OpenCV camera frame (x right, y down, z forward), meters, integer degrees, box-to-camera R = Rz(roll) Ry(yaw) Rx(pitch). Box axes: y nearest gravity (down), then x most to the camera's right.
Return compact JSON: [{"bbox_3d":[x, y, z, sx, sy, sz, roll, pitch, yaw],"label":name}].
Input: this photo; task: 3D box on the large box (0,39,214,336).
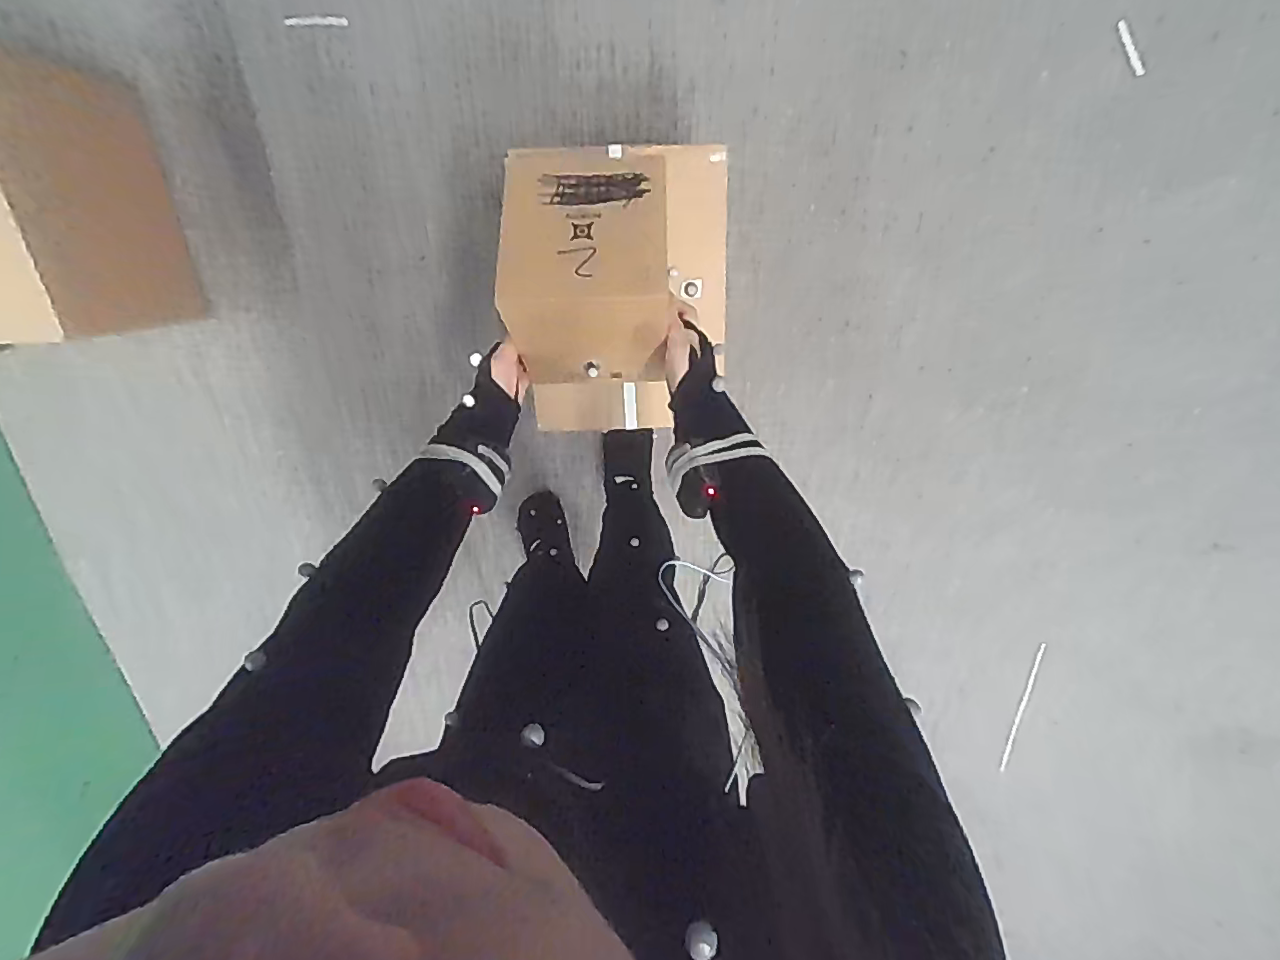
[{"bbox_3d":[-1.036,-0.463,0.910,0.320,0.320,0.408,-1,113,1],"label":"large box"}]
